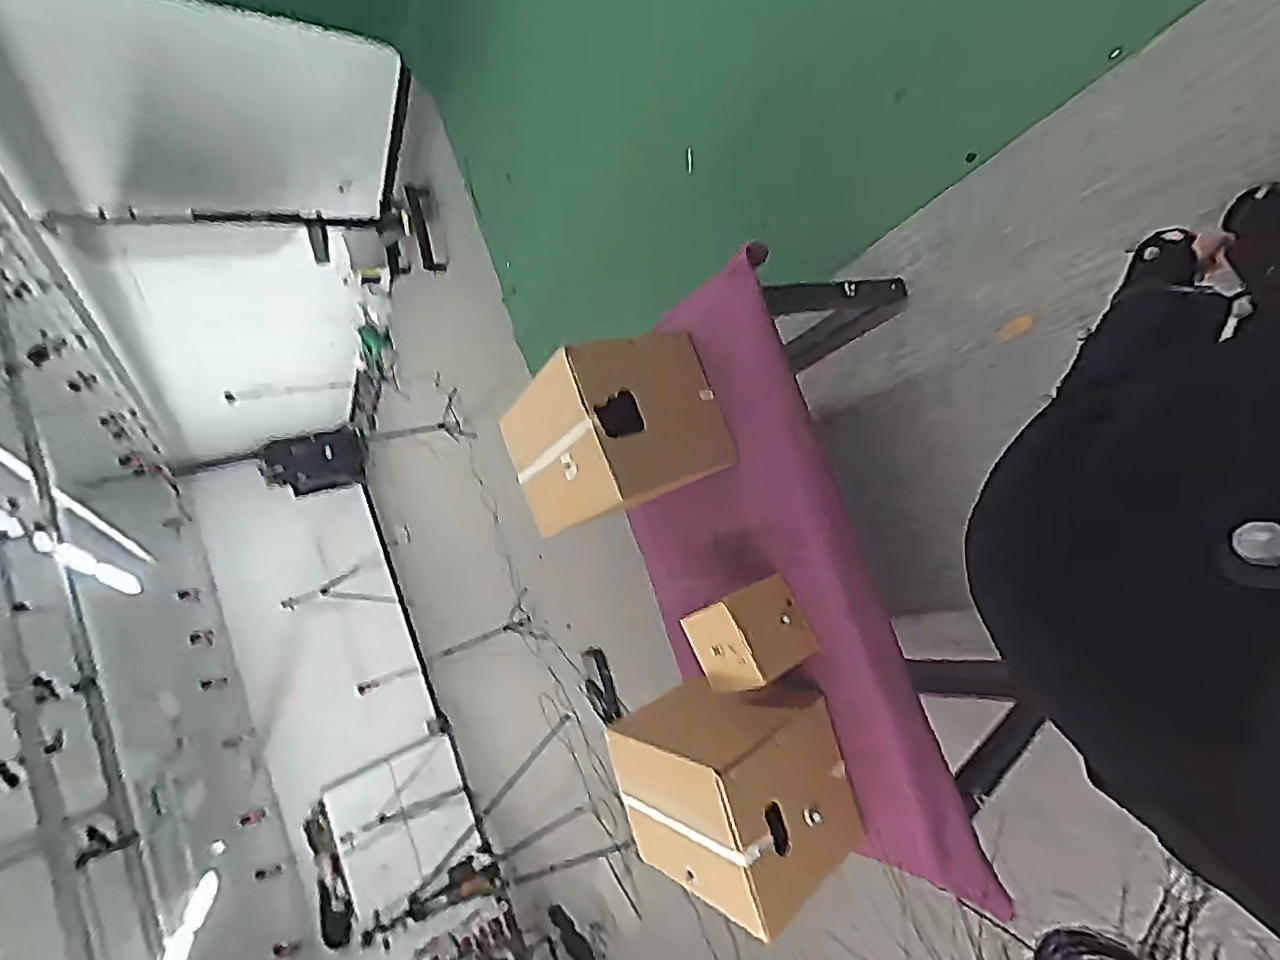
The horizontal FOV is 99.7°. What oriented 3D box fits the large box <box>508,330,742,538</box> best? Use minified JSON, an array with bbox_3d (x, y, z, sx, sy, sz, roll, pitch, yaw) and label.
[{"bbox_3d":[-0.051,-0.094,1.222,0.408,0.320,0.320,-29,82,54],"label":"large box"}]
